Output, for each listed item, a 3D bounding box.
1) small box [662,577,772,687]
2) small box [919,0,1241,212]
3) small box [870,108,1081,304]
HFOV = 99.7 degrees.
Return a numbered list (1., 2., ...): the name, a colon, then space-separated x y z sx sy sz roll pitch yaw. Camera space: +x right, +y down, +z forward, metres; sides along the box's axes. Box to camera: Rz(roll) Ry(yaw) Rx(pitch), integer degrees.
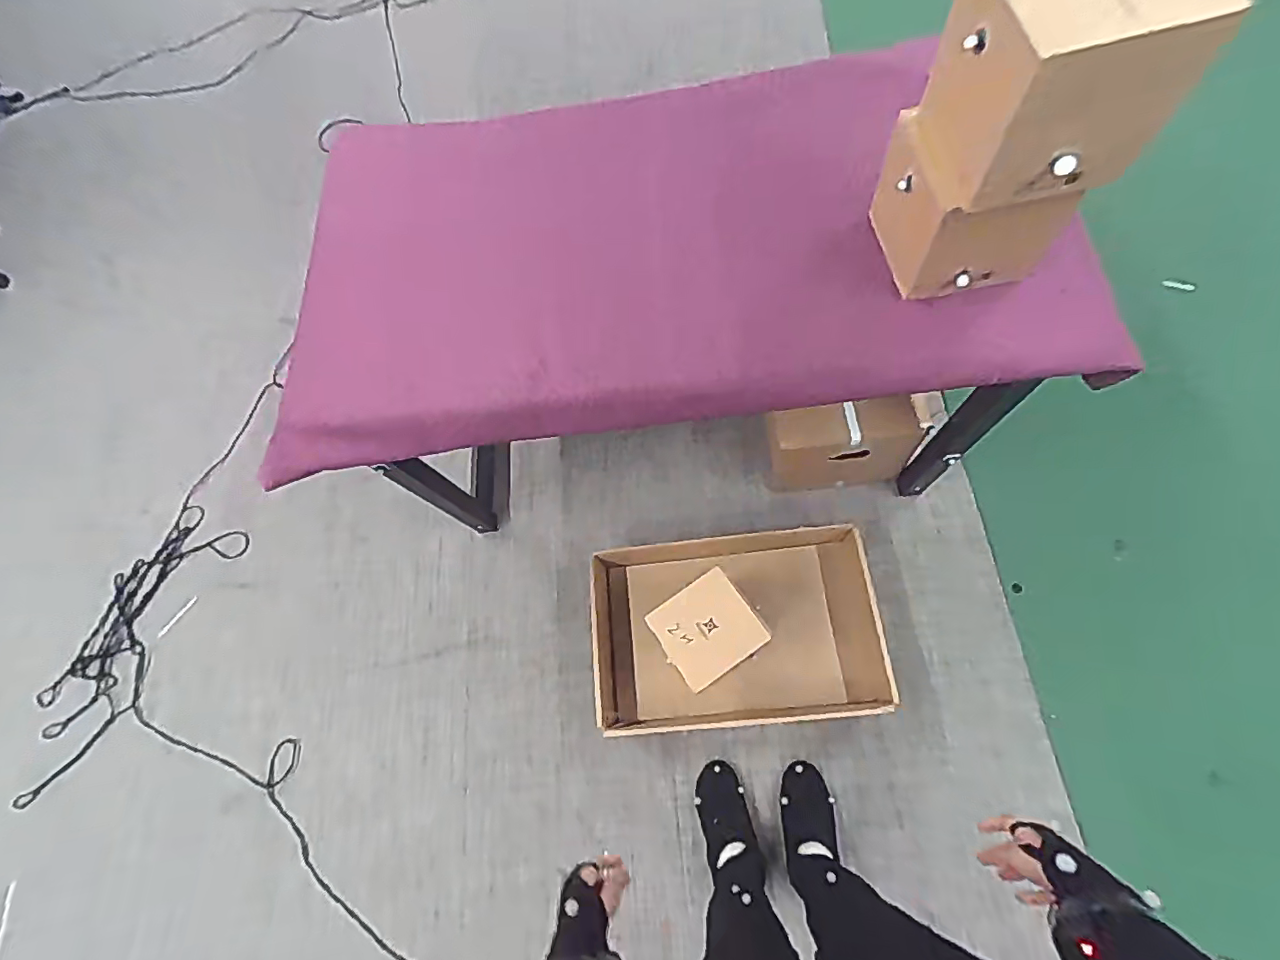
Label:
1. small box: 0.174 0.347 1.214 0.179 0.176 0.168 -35 68 -5
2. small box: 0.414 -0.415 0.554 0.168 0.176 0.179 -10 67 7
3. small box: 0.421 -0.365 0.711 0.168 0.176 0.179 -10 67 6
